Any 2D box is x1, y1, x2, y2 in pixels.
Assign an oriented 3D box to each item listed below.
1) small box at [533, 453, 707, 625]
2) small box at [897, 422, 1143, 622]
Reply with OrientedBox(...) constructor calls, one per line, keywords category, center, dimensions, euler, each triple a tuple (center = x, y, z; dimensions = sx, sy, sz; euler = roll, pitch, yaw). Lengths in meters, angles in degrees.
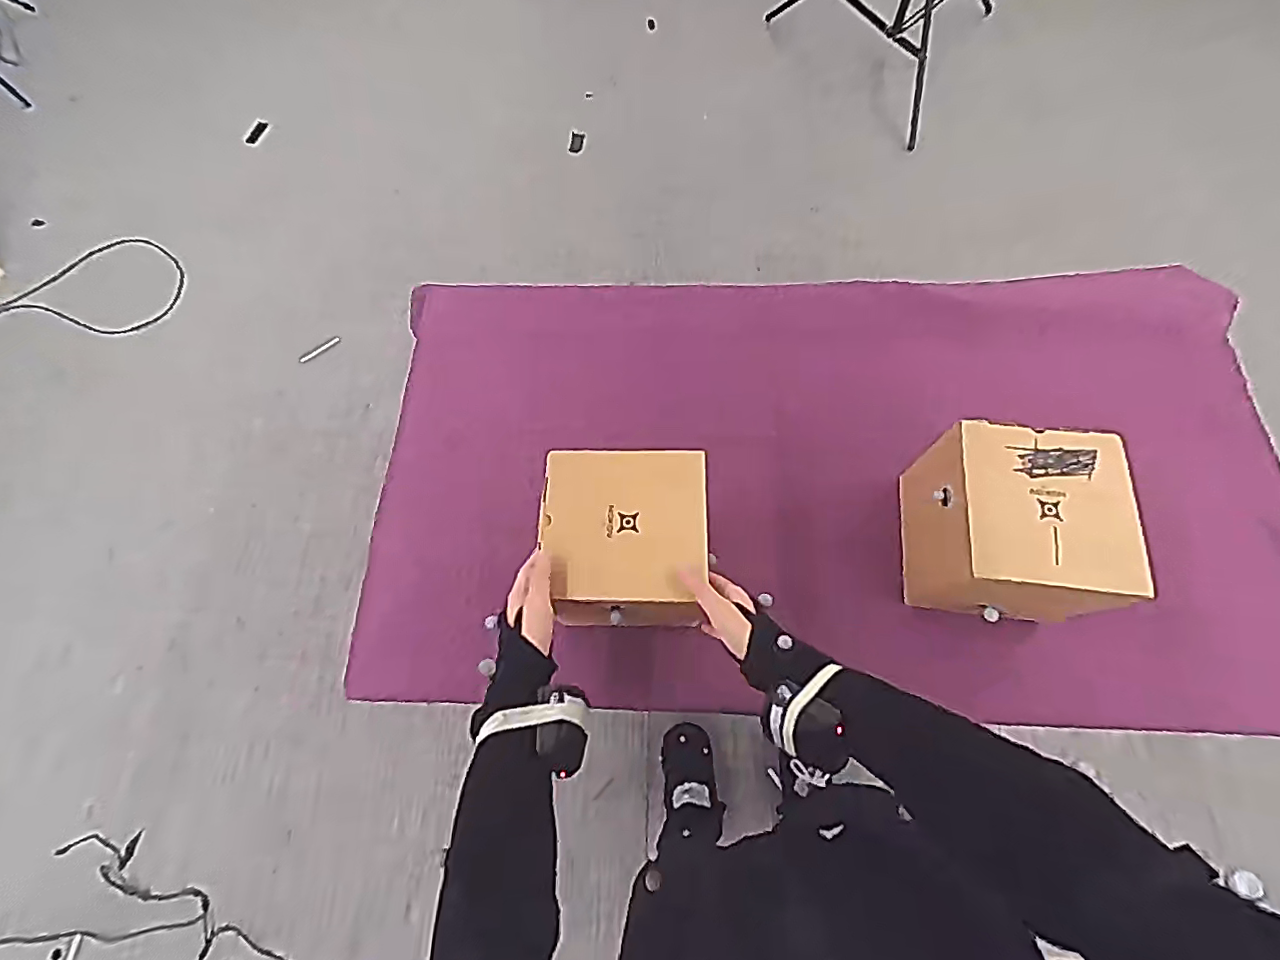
OrientedBox(category="small box", center=(-0.016, 0.076, 0.640), dimensions=(0.179, 0.176, 0.168), euler=(0, 68, 3))
OrientedBox(category="small box", center=(0.413, 0.055, 0.626), dimensions=(0.168, 0.176, 0.179), euler=(6, 69, 6))
